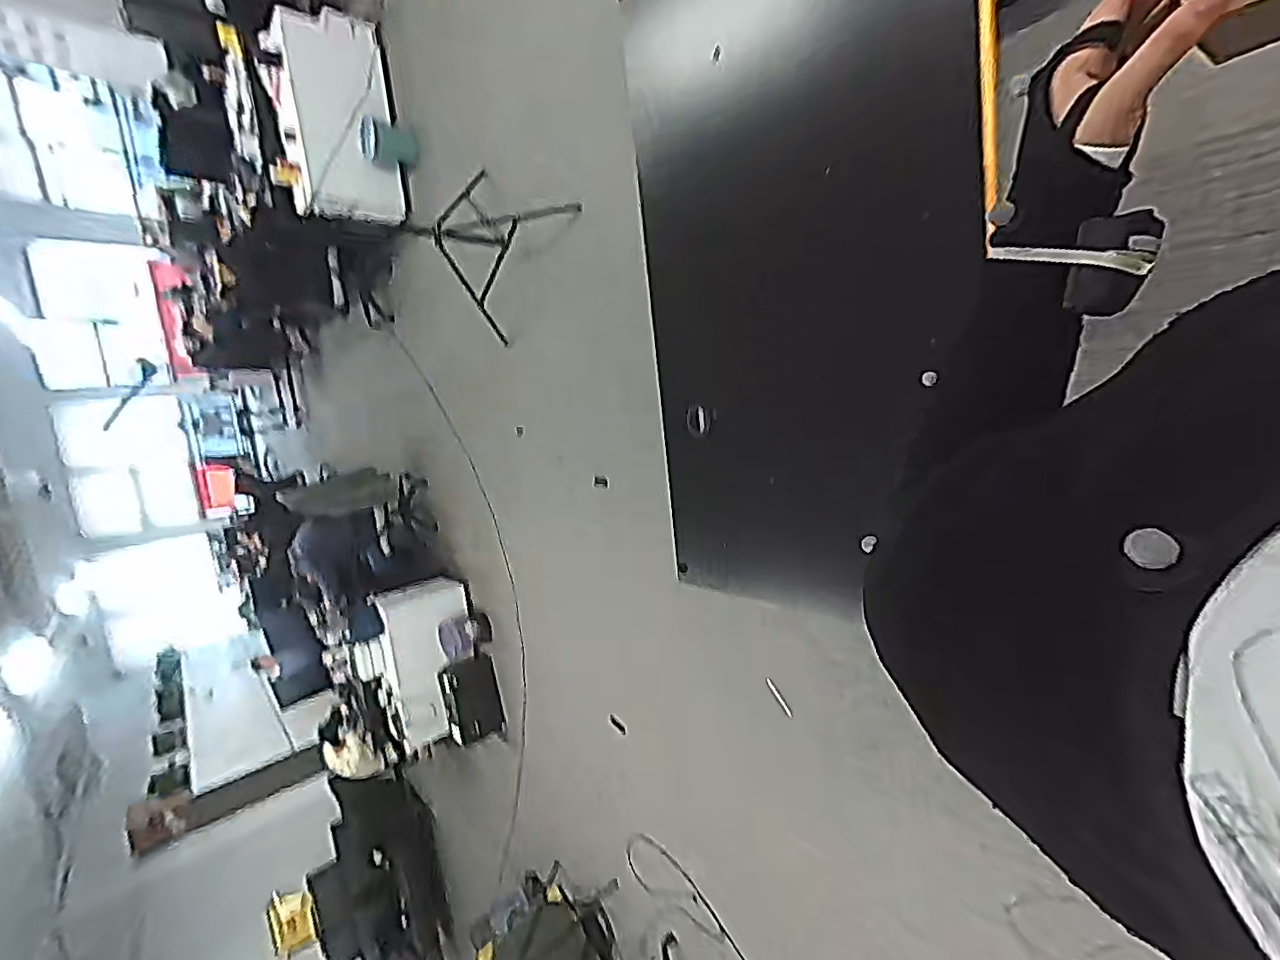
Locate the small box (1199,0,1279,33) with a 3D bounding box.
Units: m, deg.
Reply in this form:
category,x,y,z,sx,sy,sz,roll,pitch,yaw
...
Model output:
category,x,y,z,sx,sy,sz,roll,pitch,yaw
small box,0.405,-0.359,0.259,0.179,0.176,0.168,4,113,51
